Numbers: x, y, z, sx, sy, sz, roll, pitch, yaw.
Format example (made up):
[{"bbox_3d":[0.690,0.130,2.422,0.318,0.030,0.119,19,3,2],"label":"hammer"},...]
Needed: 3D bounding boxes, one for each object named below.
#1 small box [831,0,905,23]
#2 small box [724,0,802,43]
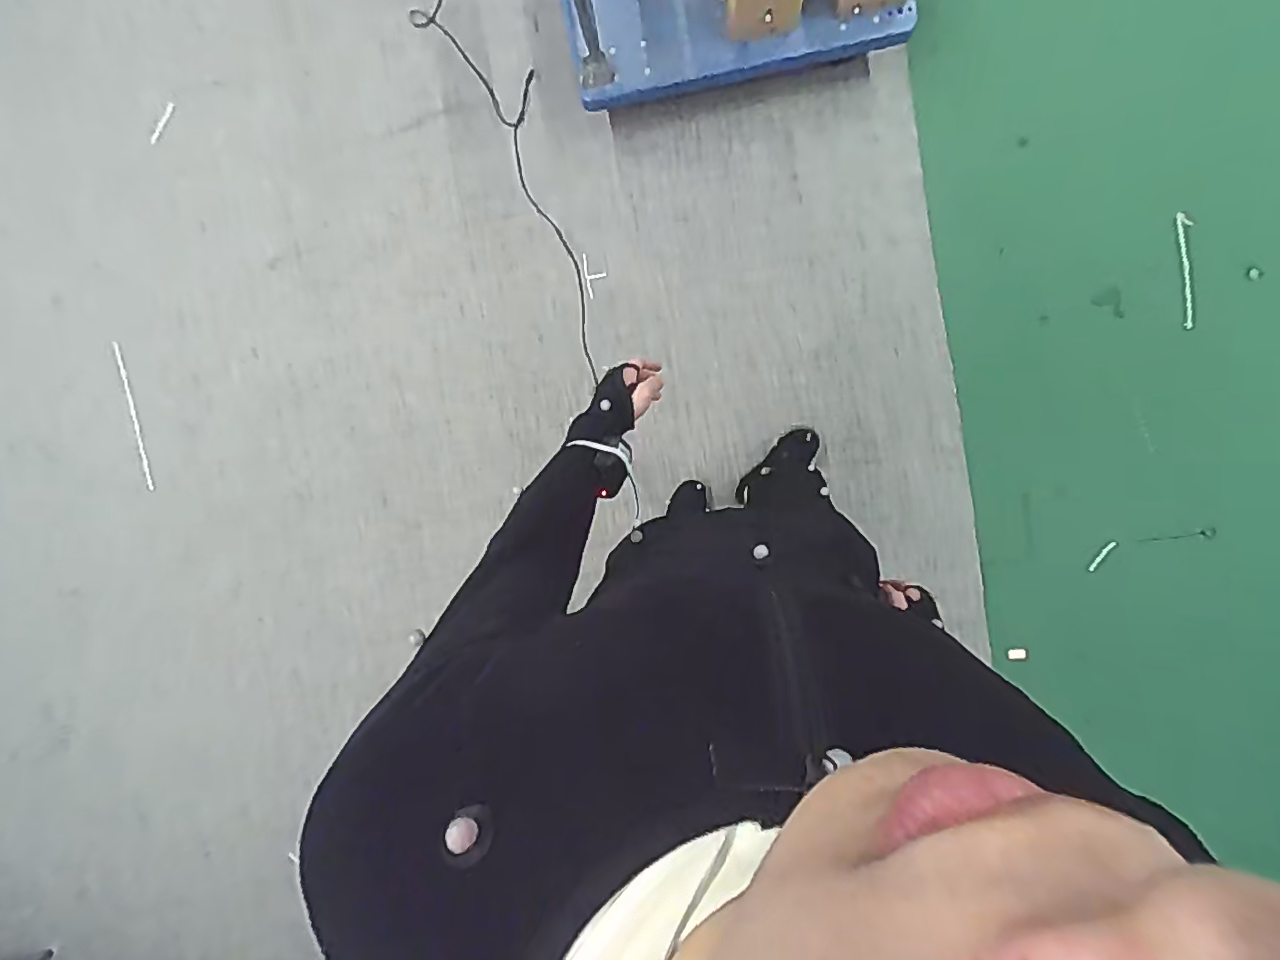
[{"bbox_3d":[0.556,-1.234,1.277,0.168,0.176,0.179,-10,92,4],"label":"small box"},{"bbox_3d":[0.291,-1.186,1.283,0.168,0.176,0.179,-8,93,4],"label":"small box"}]
